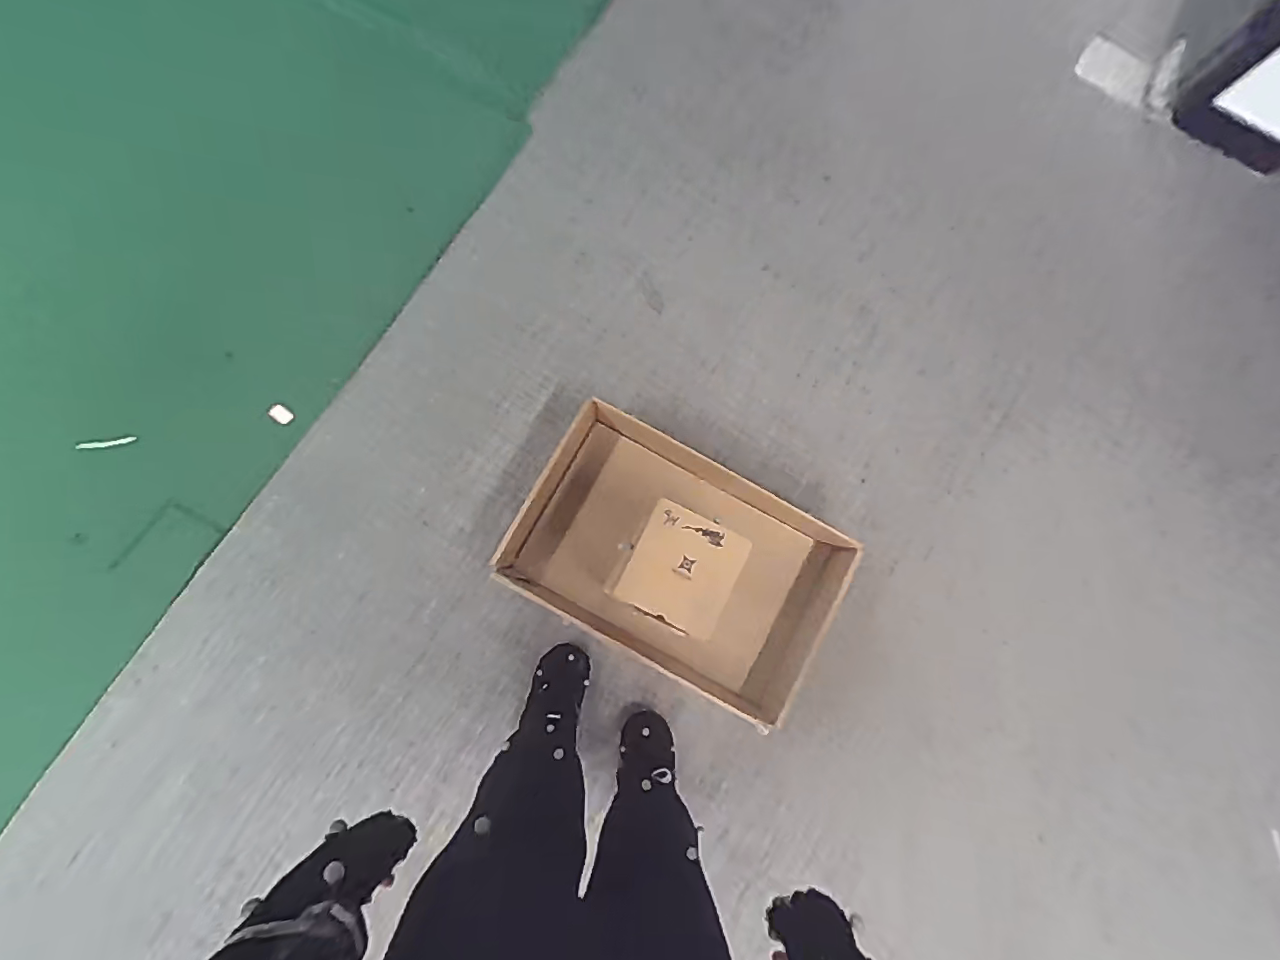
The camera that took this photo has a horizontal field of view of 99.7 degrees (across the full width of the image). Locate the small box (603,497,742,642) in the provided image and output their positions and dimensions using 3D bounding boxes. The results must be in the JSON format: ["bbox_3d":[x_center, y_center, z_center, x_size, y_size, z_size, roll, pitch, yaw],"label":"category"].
[{"bbox_3d":[0.050,0.150,0.924,0.168,0.176,0.179,28,81,1],"label":"small box"}]

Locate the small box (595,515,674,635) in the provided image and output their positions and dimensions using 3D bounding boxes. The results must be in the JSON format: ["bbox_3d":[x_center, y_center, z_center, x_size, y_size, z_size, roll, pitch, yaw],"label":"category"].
[{"bbox_3d":[0.027,0.189,1.098,0.179,0.176,0.168,32,80,3],"label":"small box"}]
